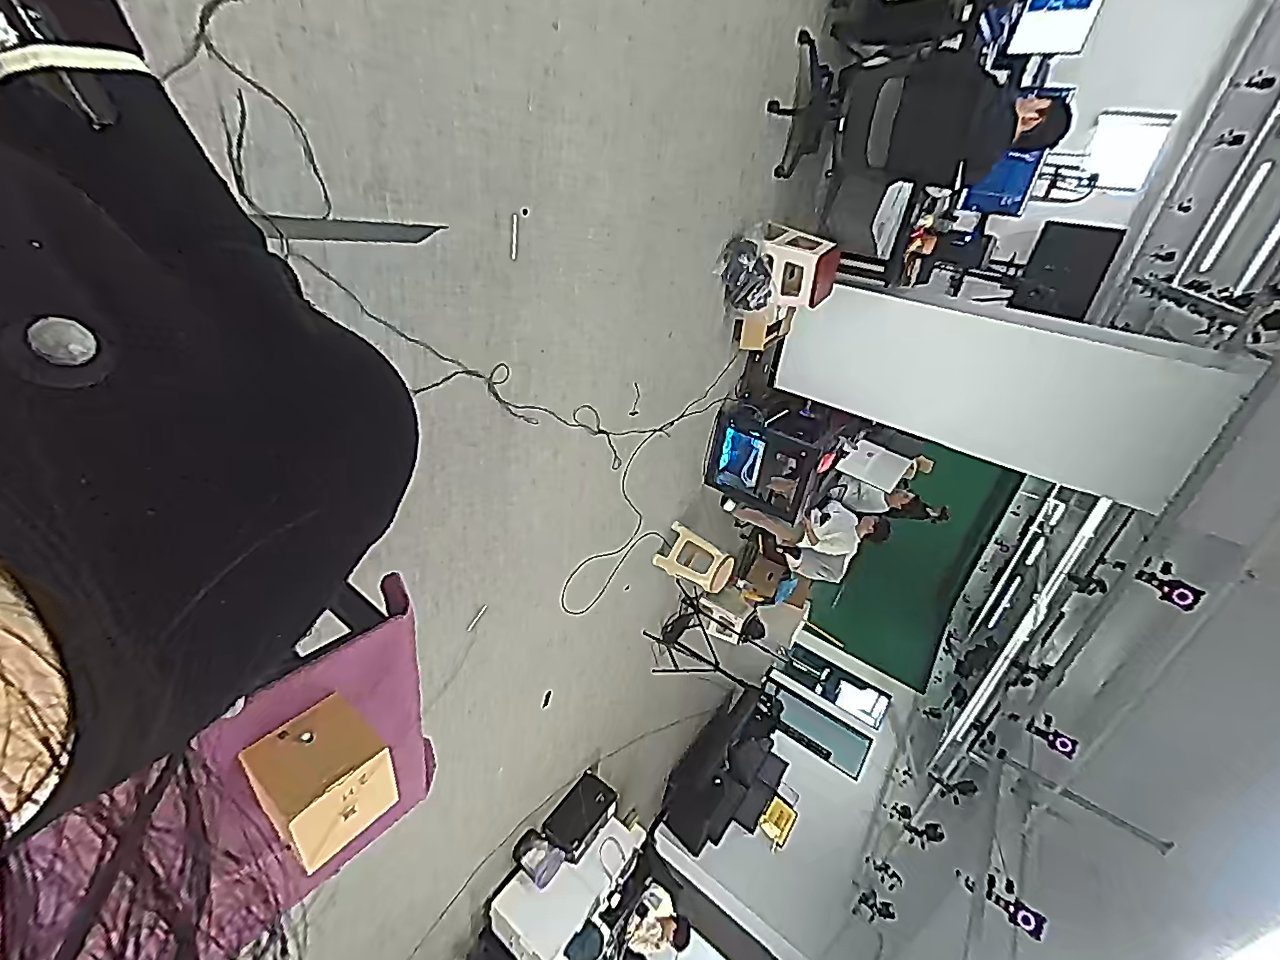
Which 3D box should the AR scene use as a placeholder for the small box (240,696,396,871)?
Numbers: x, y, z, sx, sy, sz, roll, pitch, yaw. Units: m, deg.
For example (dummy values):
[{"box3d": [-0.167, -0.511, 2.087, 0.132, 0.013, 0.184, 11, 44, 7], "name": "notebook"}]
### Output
[{"box3d": [-0.561, 0.523, 0.954, 0.168, 0.176, 0.179, -32, 138, -47], "name": "small box"}]
